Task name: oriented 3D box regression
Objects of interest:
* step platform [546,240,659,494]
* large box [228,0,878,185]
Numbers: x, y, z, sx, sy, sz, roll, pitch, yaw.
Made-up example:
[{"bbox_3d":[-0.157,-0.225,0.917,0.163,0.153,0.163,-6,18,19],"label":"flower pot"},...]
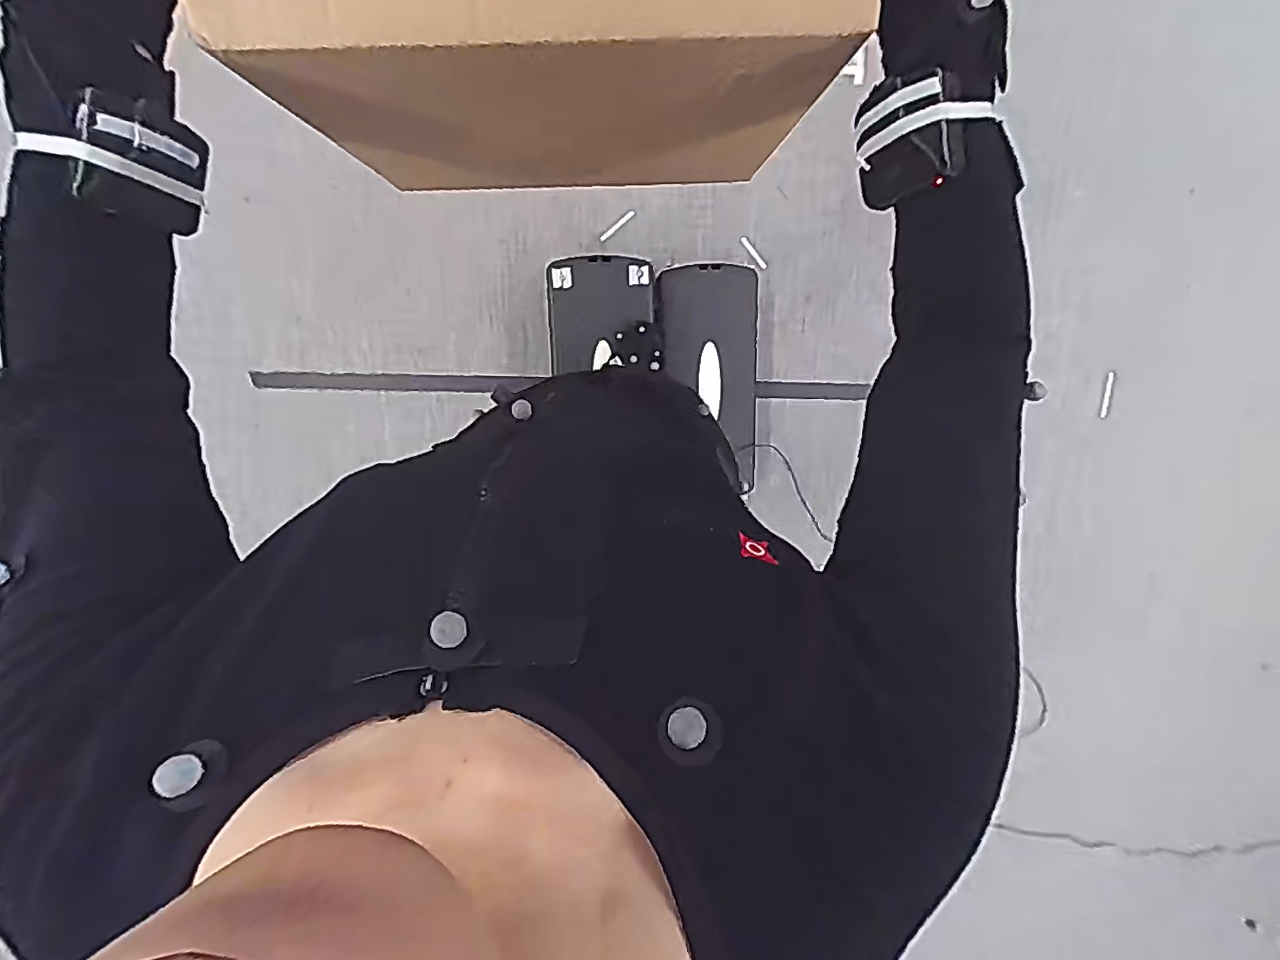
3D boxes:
[{"bbox_3d":[-0.098,-0.302,1.518,0.286,0.204,0.684,-3,102,-3],"label":"step platform"},{"bbox_3d":[-0.064,-0.458,0.442,0.408,0.320,0.320,-3,105,-3],"label":"large box"}]
